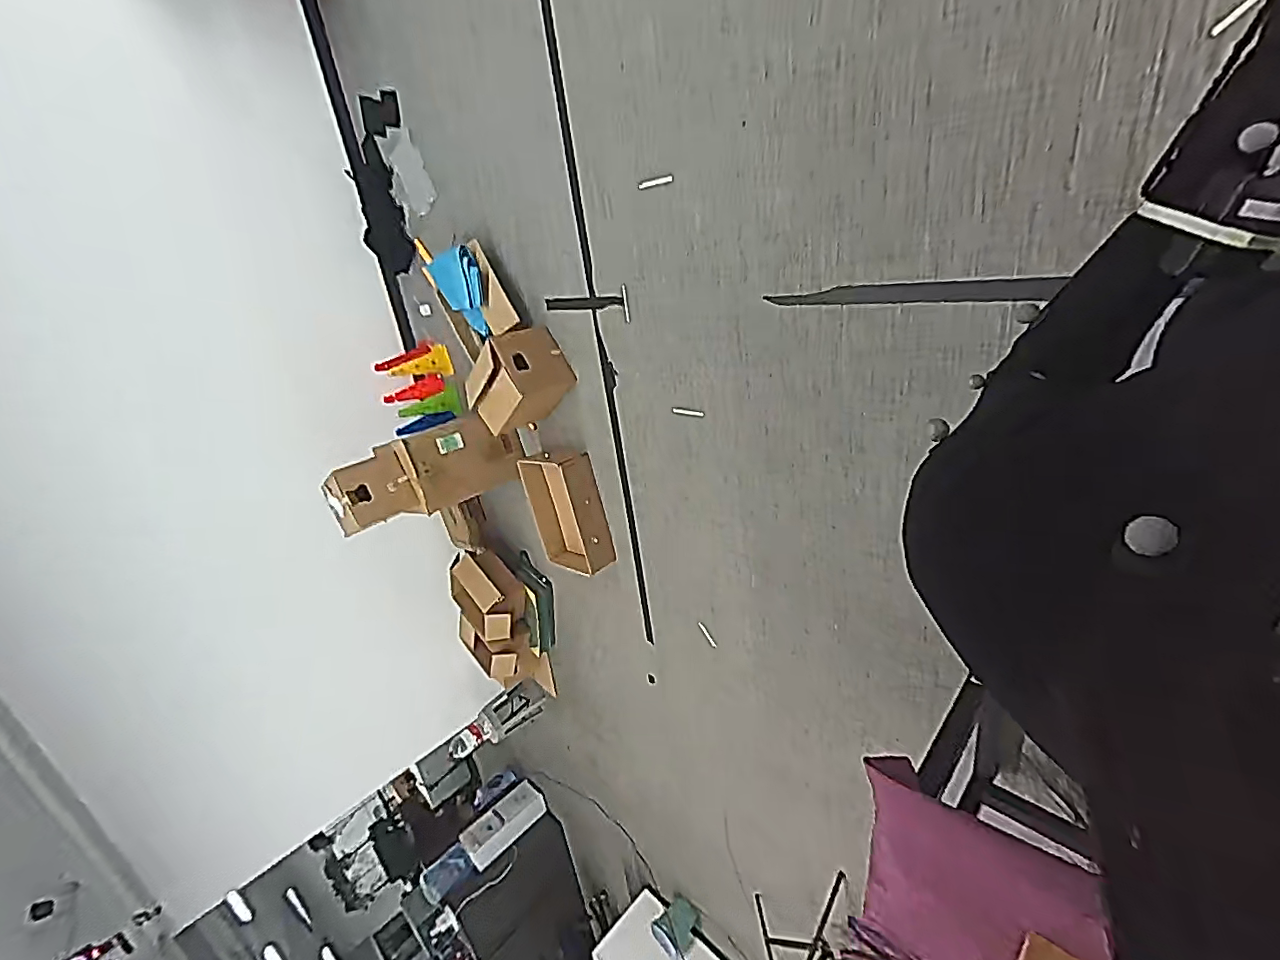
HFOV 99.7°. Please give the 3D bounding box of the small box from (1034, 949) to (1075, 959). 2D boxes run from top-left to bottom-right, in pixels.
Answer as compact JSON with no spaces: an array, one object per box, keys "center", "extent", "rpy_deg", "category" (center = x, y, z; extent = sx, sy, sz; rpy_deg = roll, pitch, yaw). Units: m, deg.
[{"center":[0.710,0.911,0.864],"extent":[0.179,0.176,0.168],"rpy_deg":[17,126,41],"category":"small box"}]
